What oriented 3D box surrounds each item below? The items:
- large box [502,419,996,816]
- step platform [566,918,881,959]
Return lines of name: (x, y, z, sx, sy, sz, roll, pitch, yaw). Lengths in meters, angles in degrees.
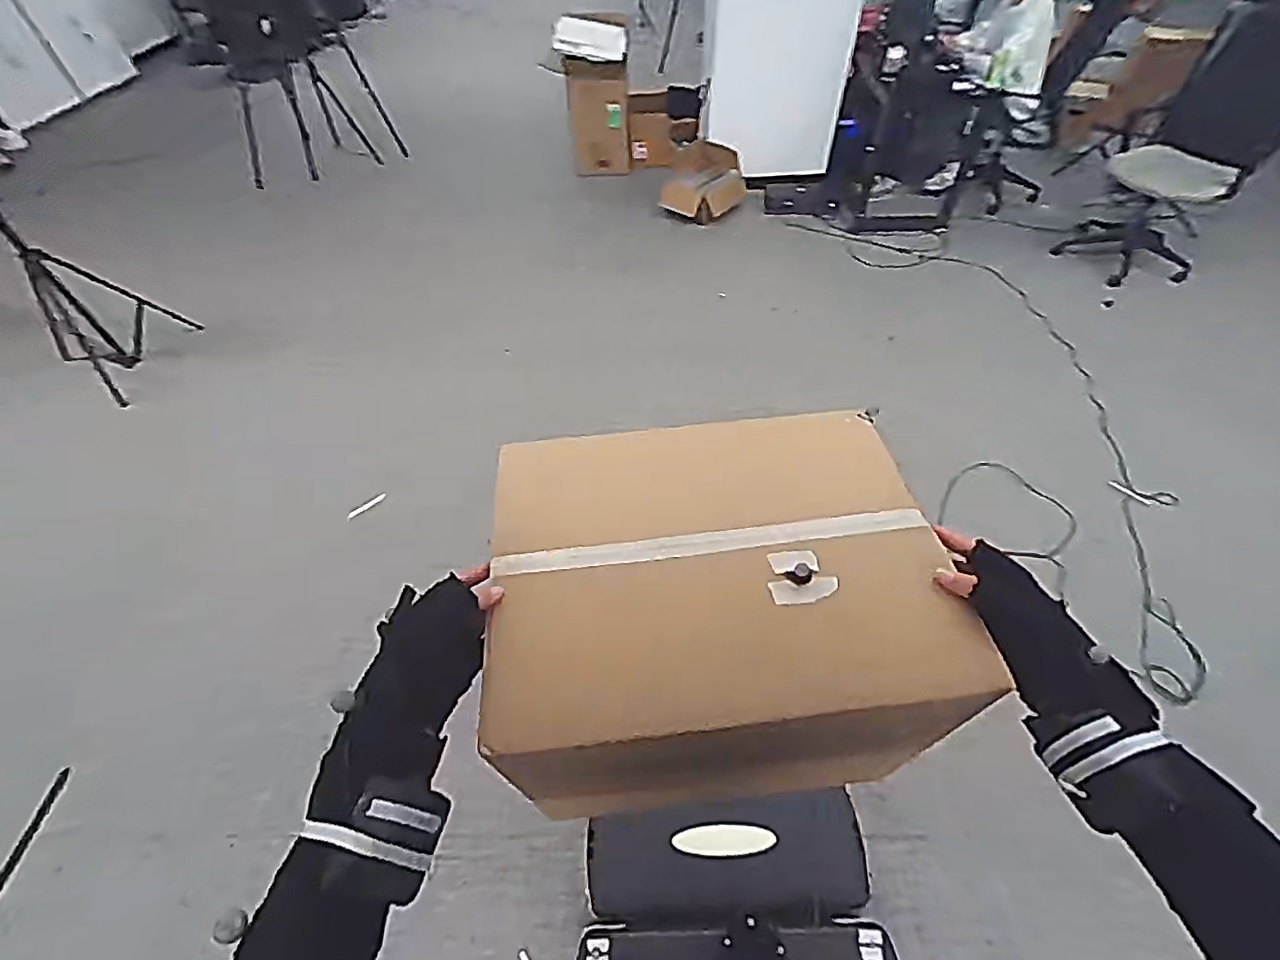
large box: (0.076, 0.162, 0.627, 0.408, 0.320, 0.320, -6, 51, -3)
step platform: (0.173, 1.103, 1.121, 0.684, 0.204, 0.286, -3, 50, 1)
